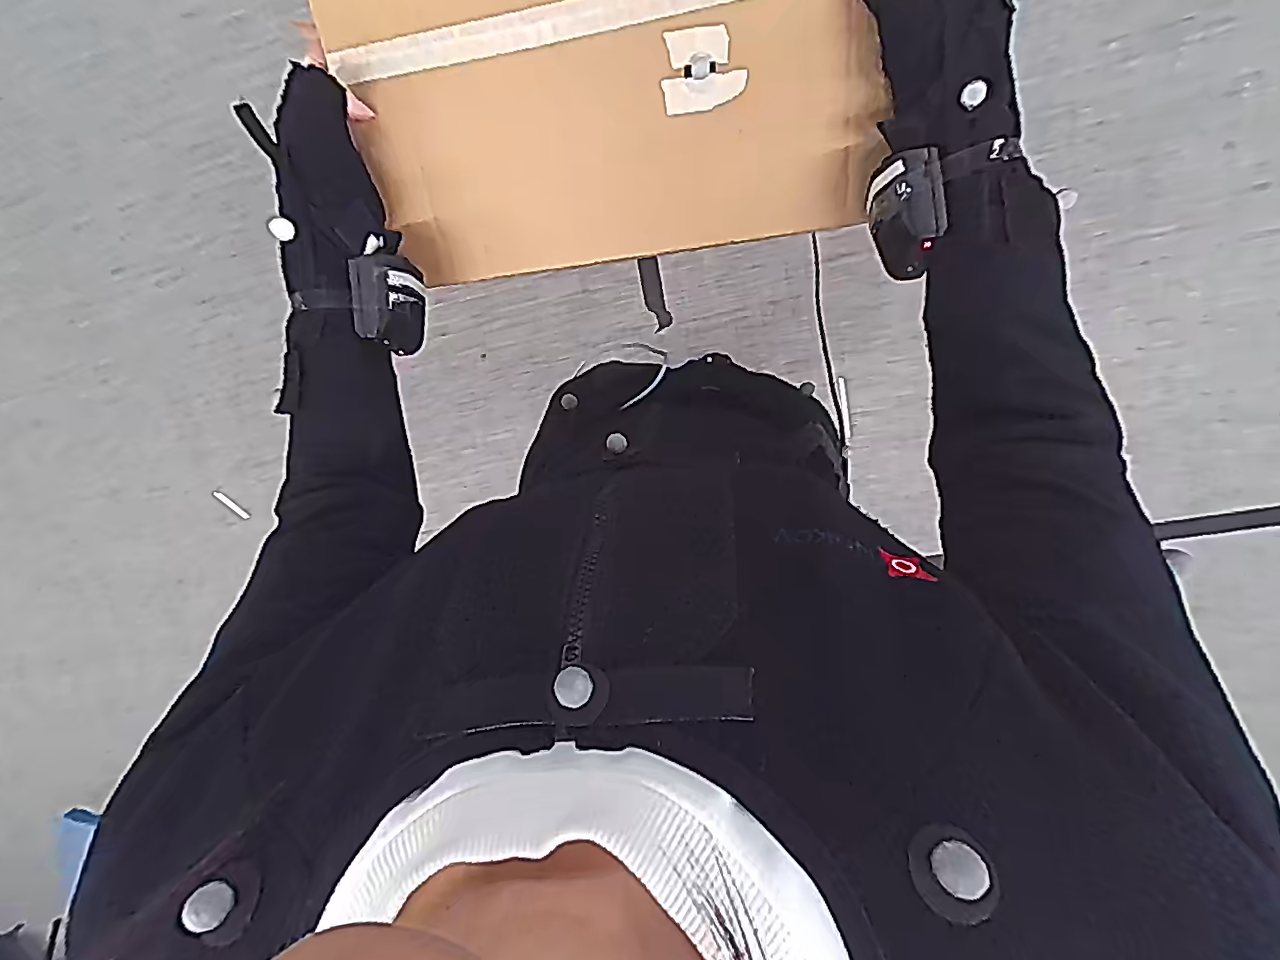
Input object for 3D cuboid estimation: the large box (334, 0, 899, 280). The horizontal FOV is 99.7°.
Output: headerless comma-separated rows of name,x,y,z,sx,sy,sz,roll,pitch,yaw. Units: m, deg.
large box,-0.012,-0.393,0.519,0.408,0.320,0.320,-6,114,8
